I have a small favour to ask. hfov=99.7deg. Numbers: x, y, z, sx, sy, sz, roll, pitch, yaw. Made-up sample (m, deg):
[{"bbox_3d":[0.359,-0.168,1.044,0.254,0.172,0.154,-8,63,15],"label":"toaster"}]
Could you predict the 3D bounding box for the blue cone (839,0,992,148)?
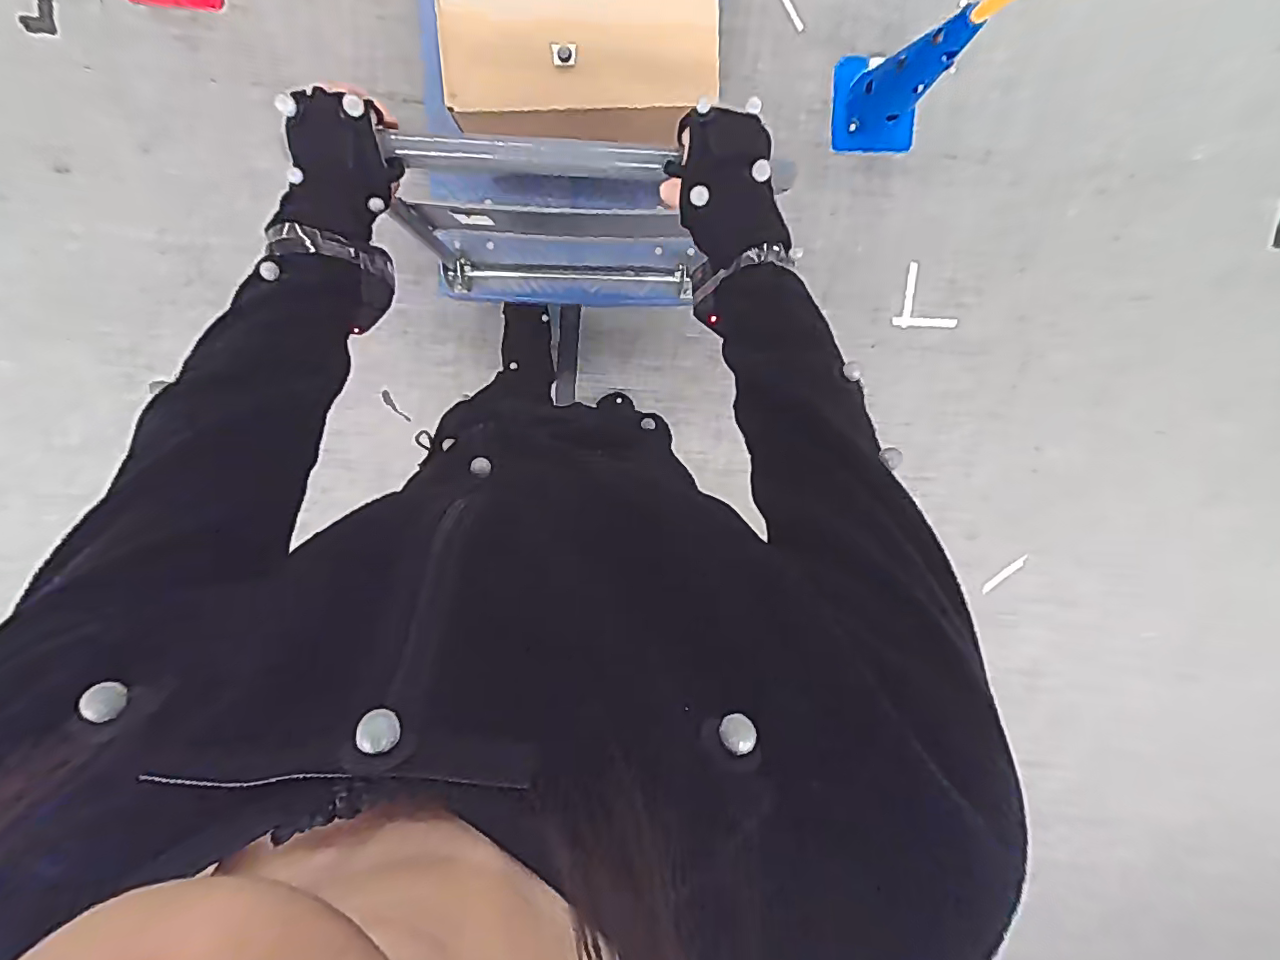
[{"bbox_3d":[0.575,-0.851,1.112,0.193,0.380,0.192,-1,103,-5],"label":"blue cone"}]
